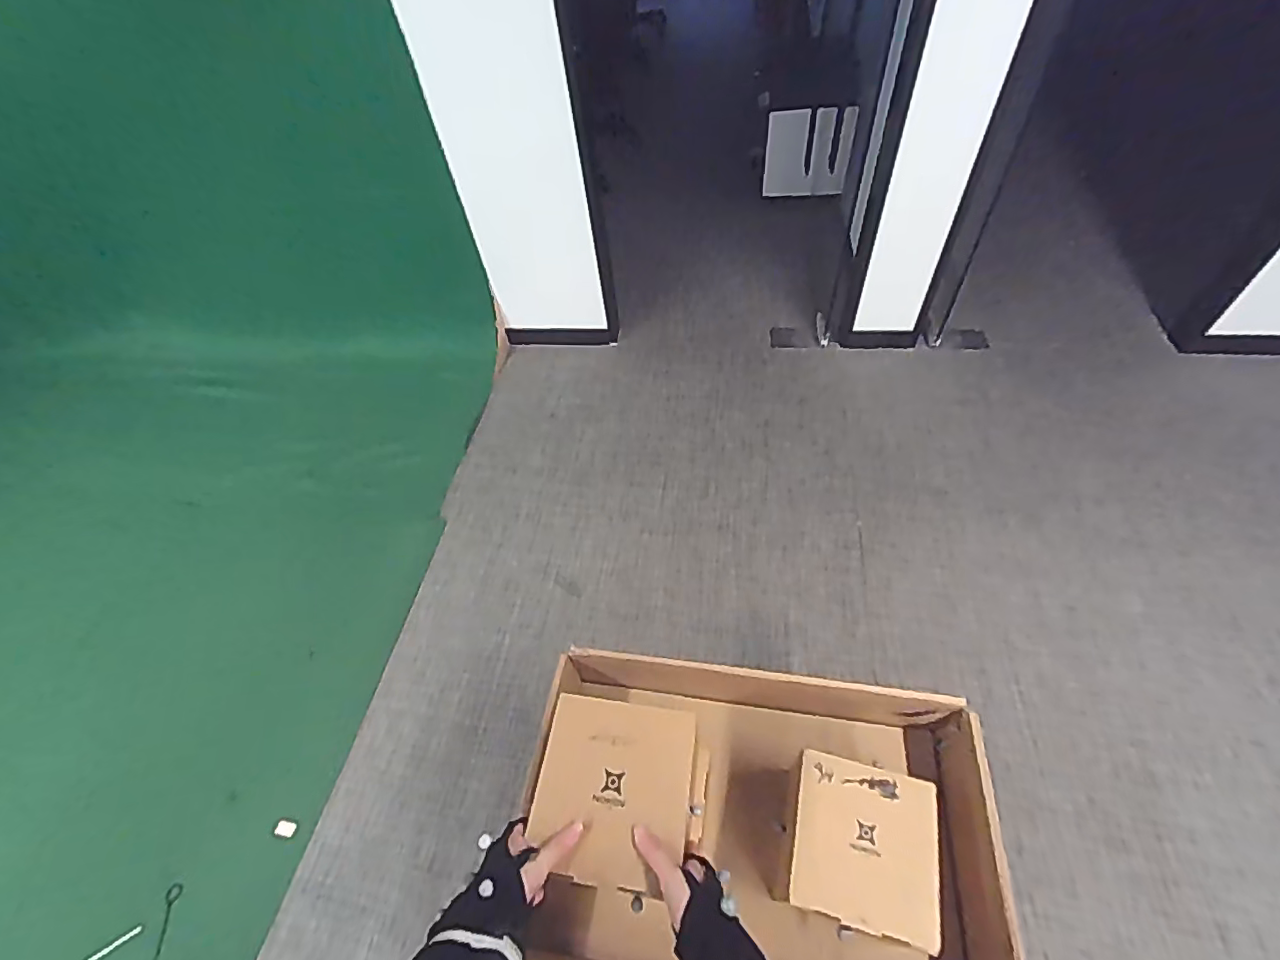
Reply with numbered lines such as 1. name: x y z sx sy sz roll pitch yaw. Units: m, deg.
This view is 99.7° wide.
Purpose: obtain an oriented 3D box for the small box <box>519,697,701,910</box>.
1. small box: -0.019 0.382 0.641 0.168 0.176 0.179 4 53 12
